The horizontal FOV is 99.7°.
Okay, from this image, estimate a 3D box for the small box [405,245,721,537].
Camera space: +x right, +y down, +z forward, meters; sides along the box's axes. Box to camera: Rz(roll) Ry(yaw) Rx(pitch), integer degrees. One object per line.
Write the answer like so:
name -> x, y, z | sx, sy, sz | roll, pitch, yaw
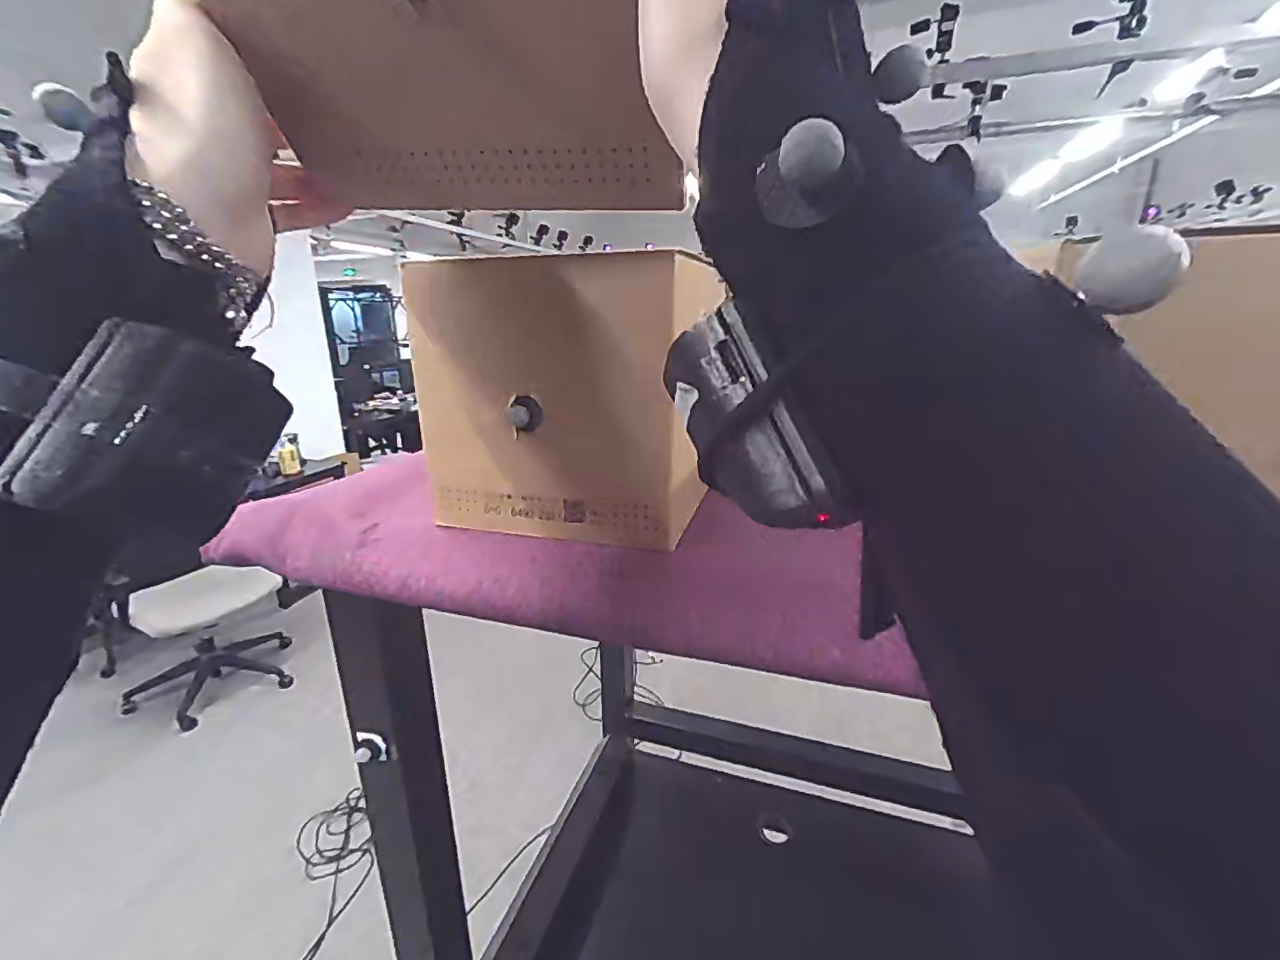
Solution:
small box -> -0.036, -0.068, 0.396 | 0.168, 0.176, 0.179 | 5, 18, 16
